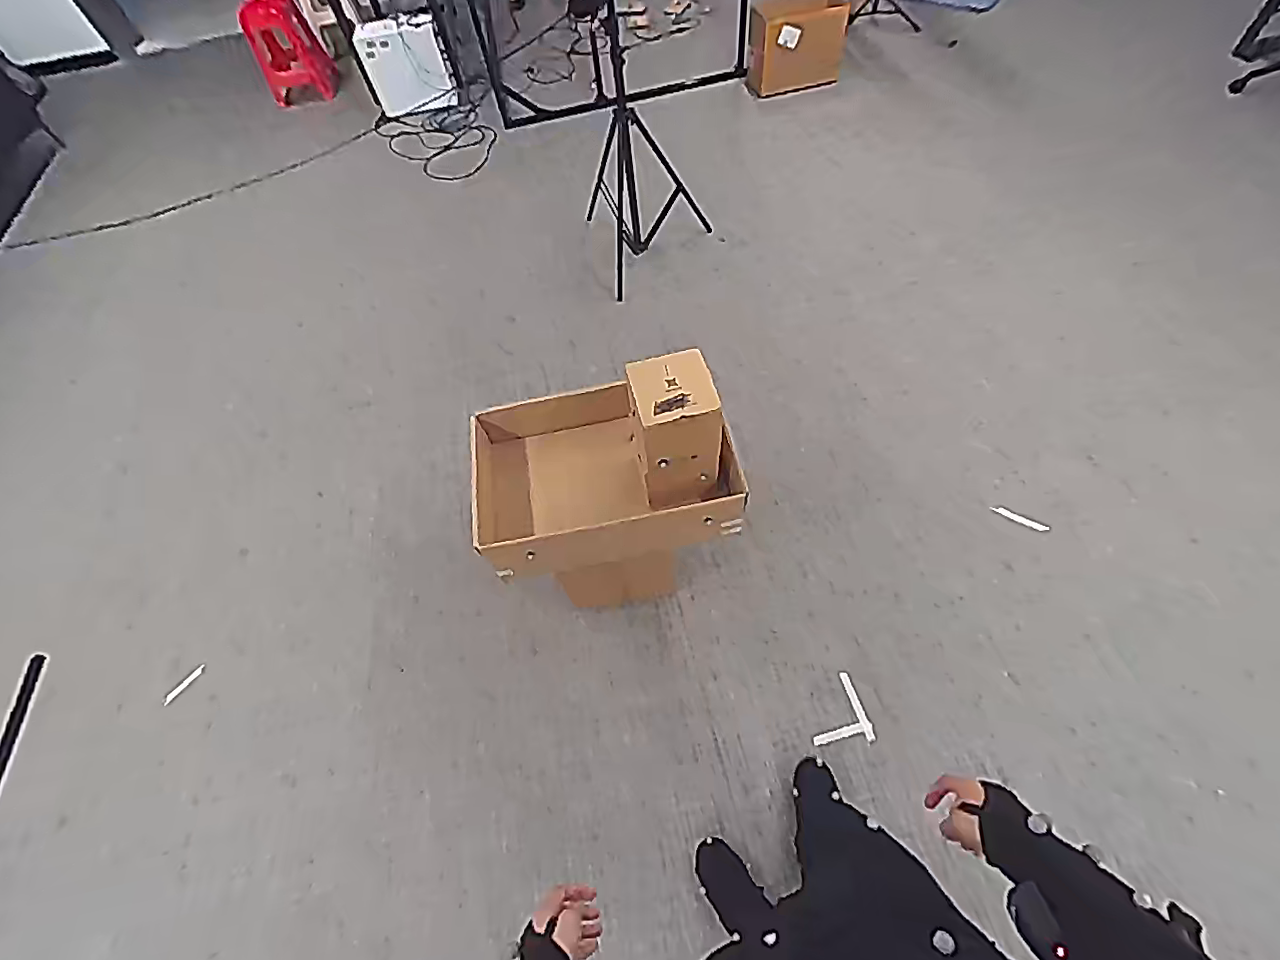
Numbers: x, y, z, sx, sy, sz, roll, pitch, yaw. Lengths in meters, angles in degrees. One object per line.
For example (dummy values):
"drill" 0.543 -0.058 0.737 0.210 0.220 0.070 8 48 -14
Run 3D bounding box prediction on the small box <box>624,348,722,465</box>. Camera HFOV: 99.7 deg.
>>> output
"small box" 0.071 -0.148 1.161 0.168 0.176 0.179 -14 59 -3
